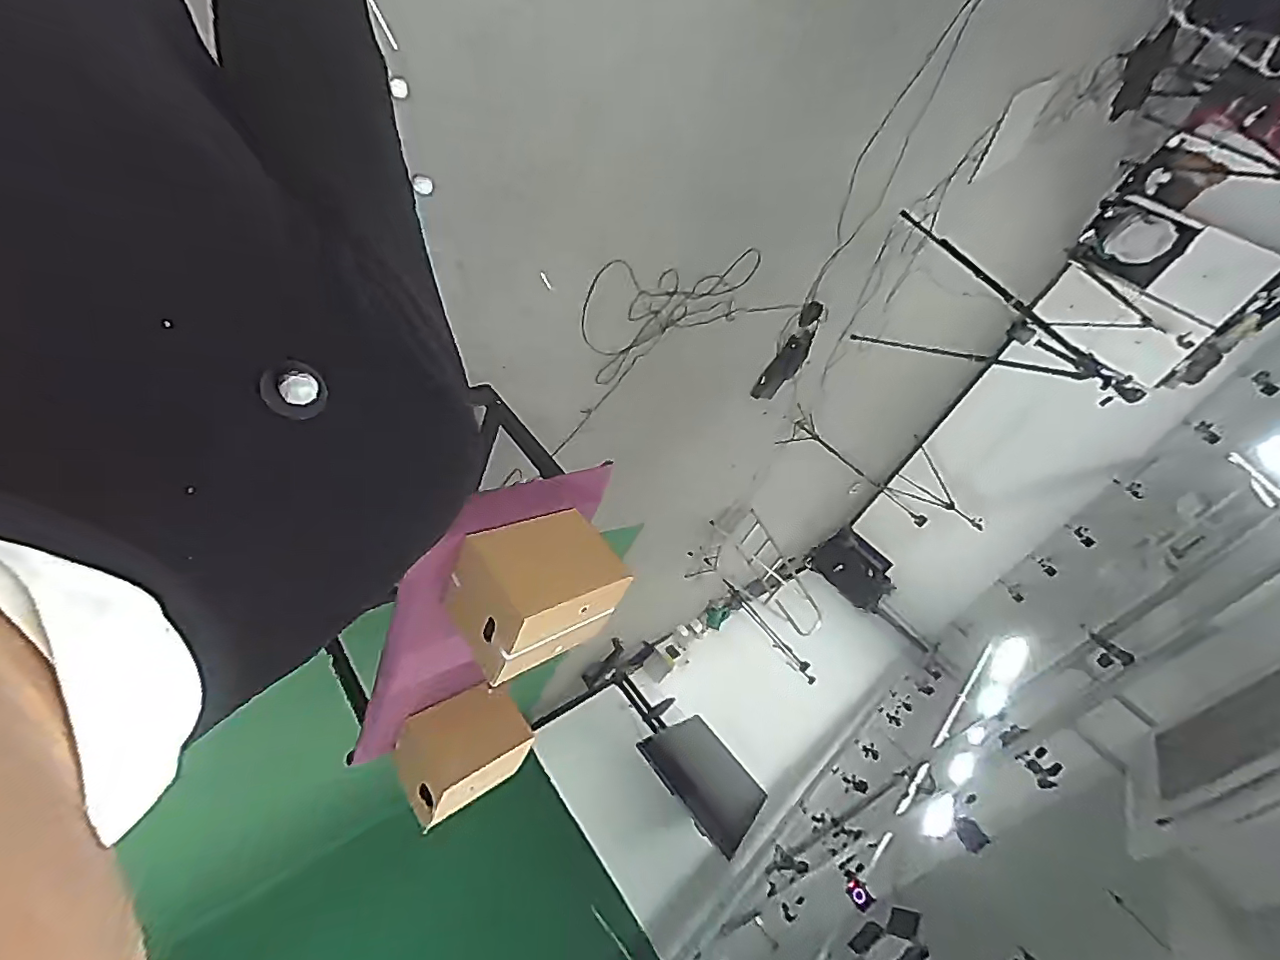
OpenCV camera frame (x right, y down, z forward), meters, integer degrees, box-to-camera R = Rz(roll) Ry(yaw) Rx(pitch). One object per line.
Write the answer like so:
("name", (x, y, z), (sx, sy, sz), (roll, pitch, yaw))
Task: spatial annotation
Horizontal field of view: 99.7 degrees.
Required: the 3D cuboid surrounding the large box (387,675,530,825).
("large box", (-0.720, 1.050, 2.147), (0.408, 0.320, 0.320), (-11, 137, -48))
